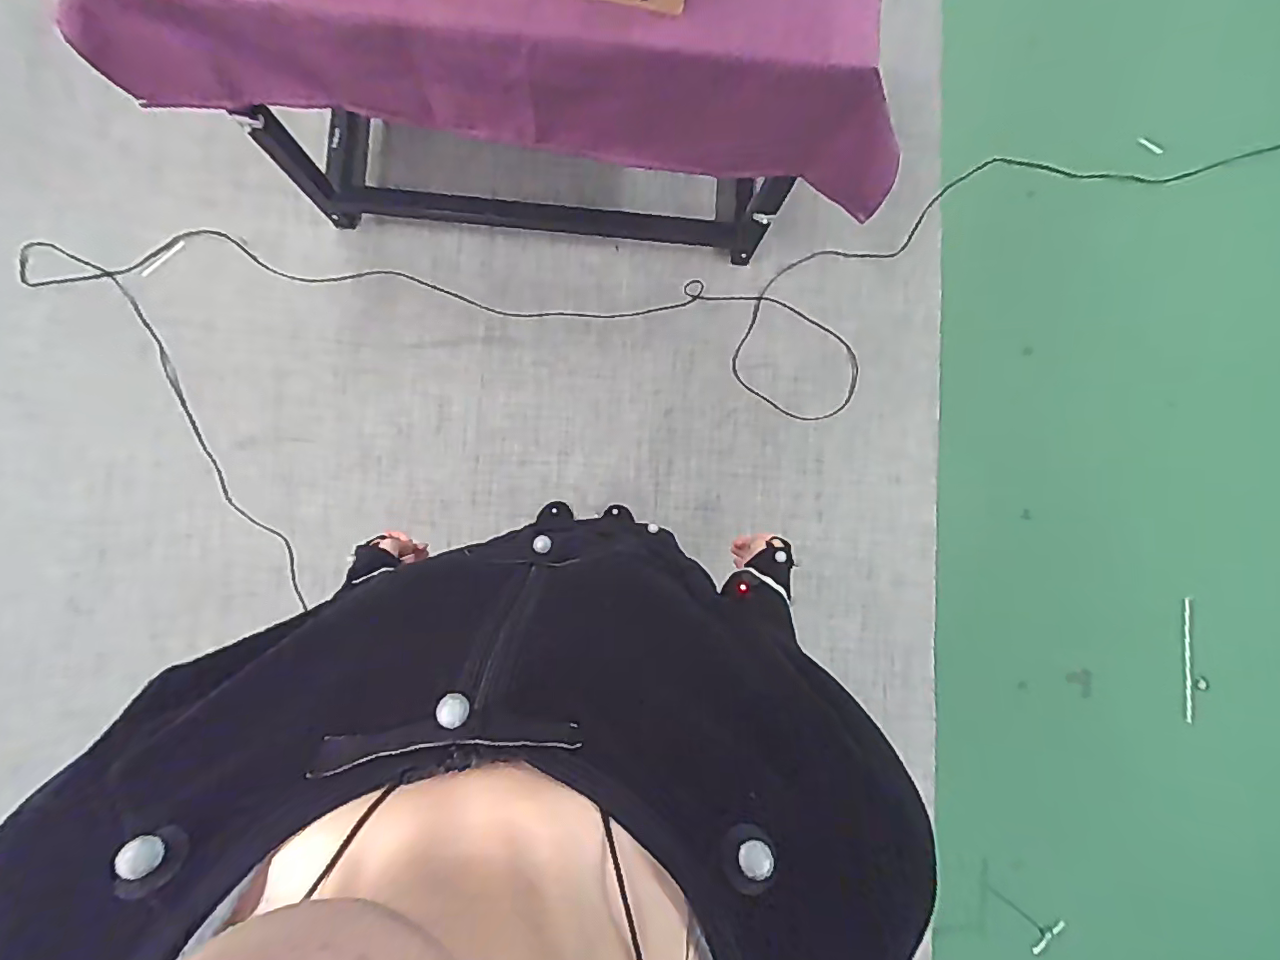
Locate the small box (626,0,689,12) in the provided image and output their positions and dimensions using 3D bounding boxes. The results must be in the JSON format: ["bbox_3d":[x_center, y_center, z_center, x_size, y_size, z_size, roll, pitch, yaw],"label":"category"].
[{"bbox_3d":[0.011,-0.826,0.759,0.168,0.176,0.179,9,85,-2],"label":"small box"}]
